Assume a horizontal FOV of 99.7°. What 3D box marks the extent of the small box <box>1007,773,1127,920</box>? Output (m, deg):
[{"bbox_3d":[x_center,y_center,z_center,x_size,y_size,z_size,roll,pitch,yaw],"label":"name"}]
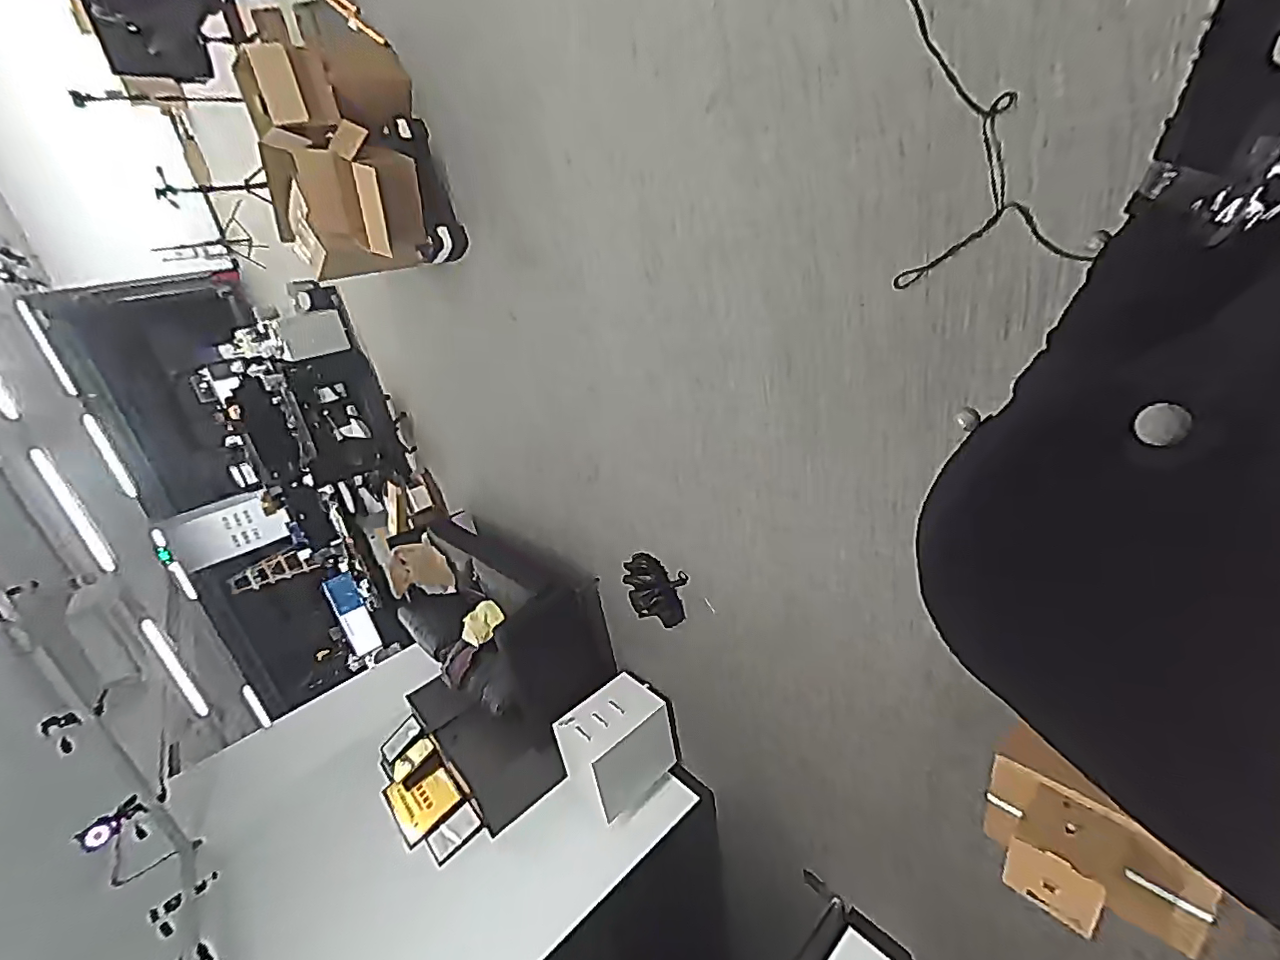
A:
[{"bbox_3d":[0.953,0.805,1.207,0.168,0.176,0.179,18,126,46],"label":"small box"}]
